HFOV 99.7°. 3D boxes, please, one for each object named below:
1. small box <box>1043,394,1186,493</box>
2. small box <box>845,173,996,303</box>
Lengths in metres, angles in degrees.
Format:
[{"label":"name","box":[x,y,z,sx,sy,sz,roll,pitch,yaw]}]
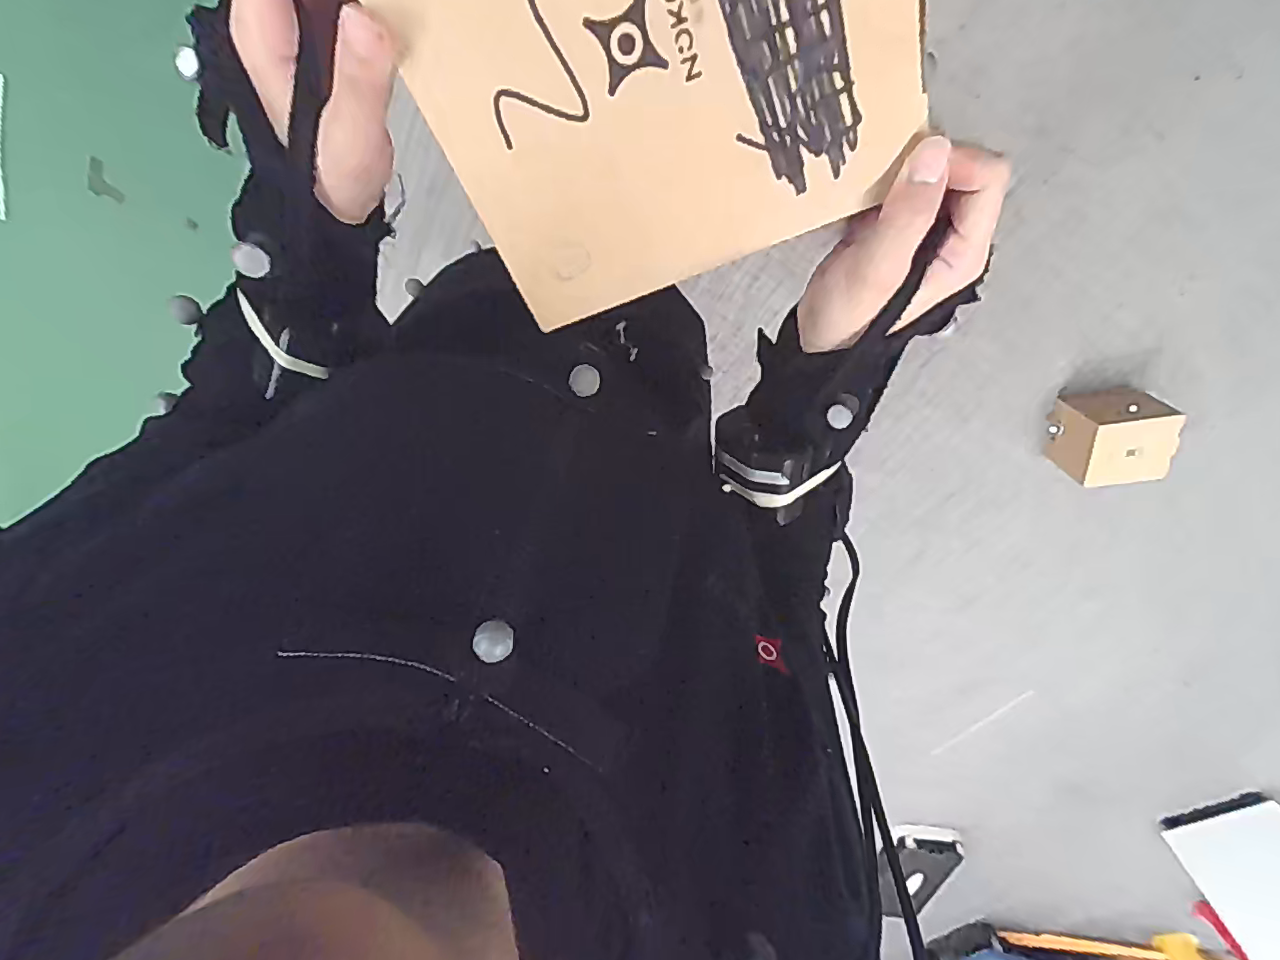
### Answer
[{"label":"small box","box":[1.105,-0.091,1.277,0.179,0.176,0.168,-8,119,9]},{"label":"small box","box":[0.540,-0.481,1.072,0.179,0.176,0.168,26,119,-13]}]
